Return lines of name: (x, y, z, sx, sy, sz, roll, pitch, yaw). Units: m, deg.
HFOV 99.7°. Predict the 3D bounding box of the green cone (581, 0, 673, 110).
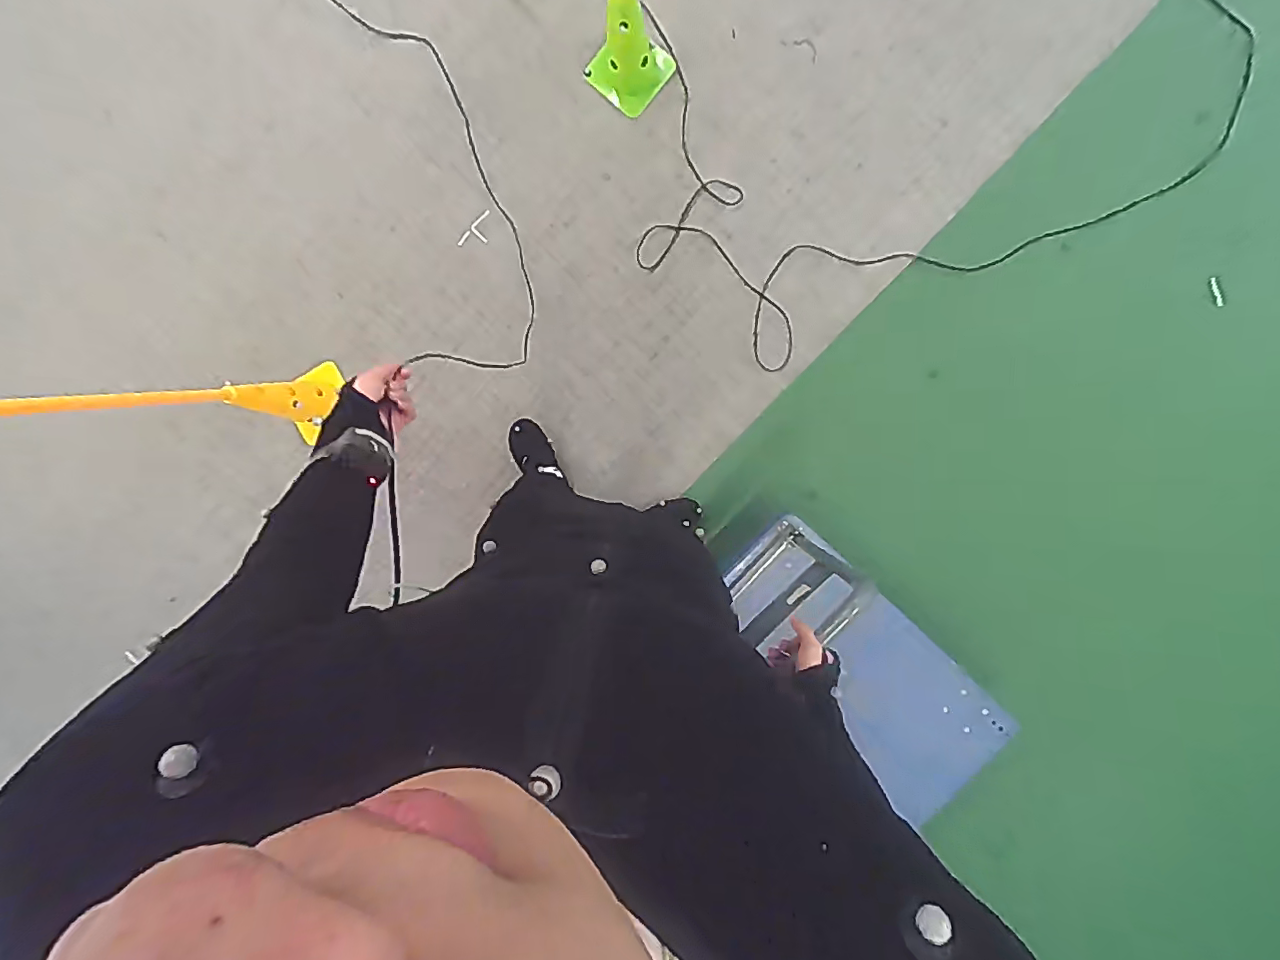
green cone: (-0.040, -1.155, 1.337, 0.200, 0.368, 0.202, 40, 93, -1)
